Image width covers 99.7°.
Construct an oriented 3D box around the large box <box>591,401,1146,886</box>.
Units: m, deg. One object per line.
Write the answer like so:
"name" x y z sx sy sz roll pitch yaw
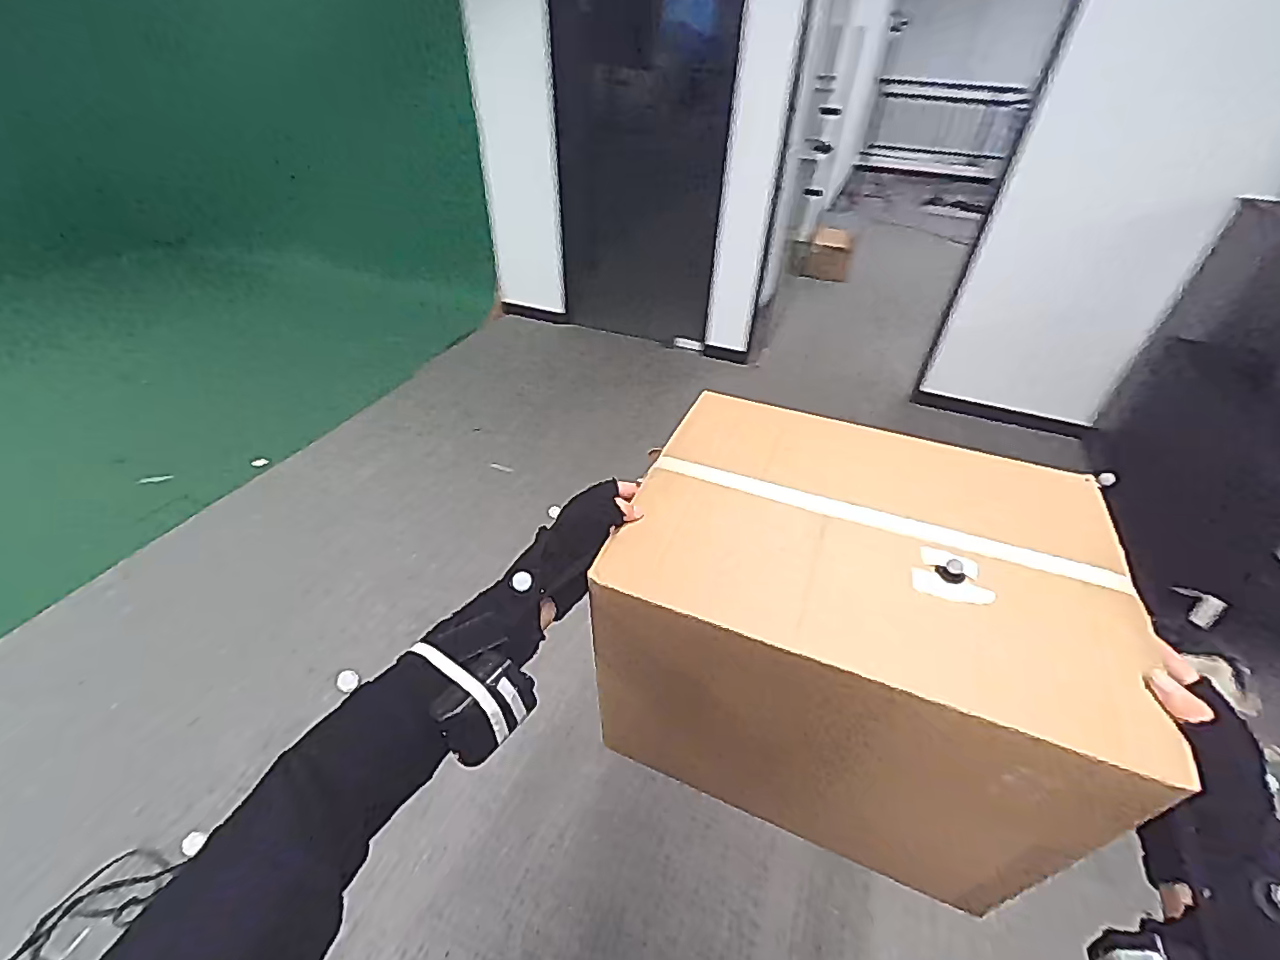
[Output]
"large box" 0.189 0.155 0.598 0.408 0.320 0.320 16 43 15
